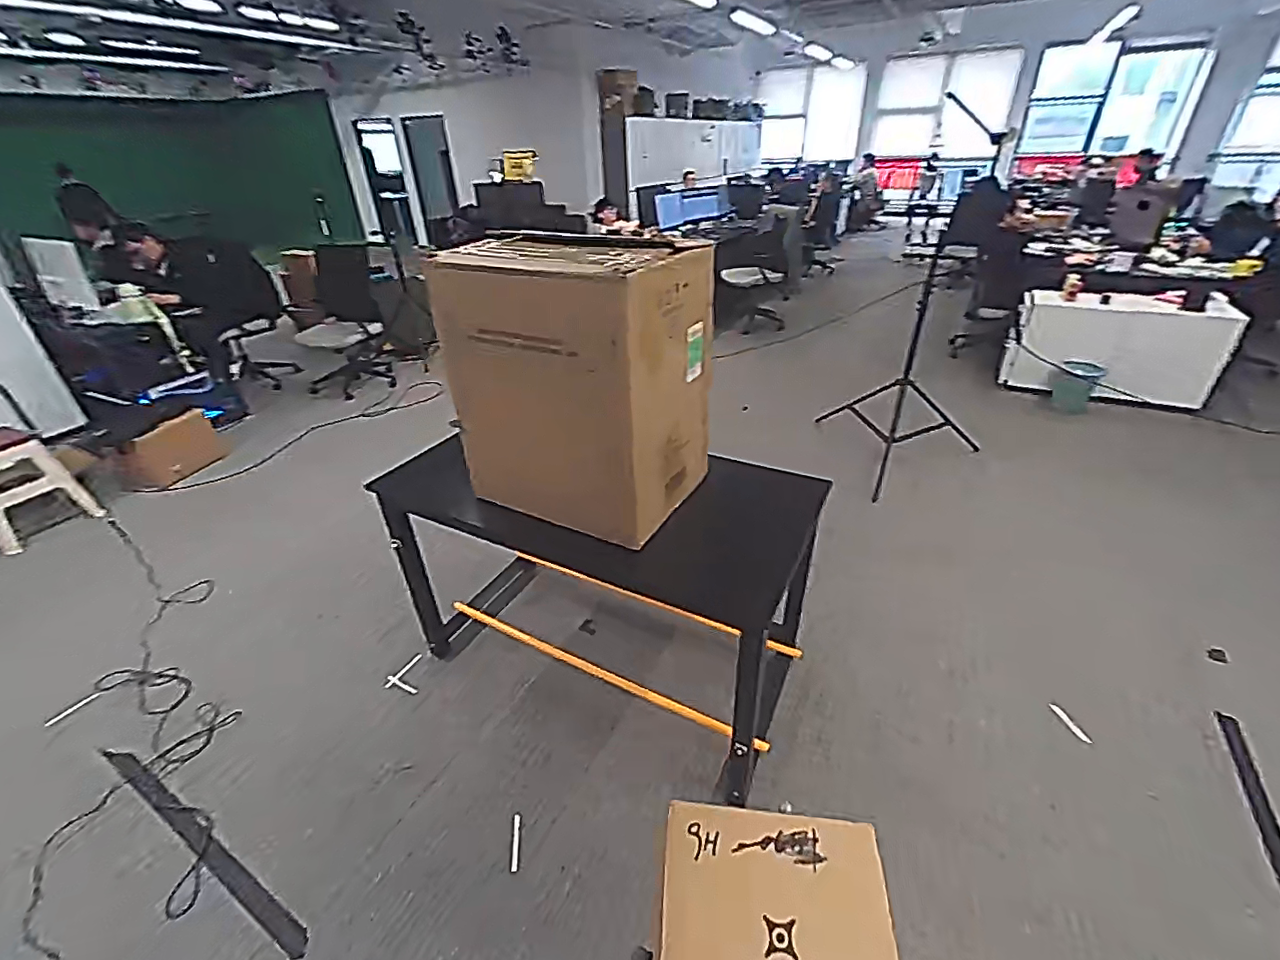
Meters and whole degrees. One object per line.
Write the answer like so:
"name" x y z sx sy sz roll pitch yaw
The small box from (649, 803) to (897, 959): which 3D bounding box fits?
"small box" 0.093 0.383 0.428 0.168 0.176 0.179 5 45 2
